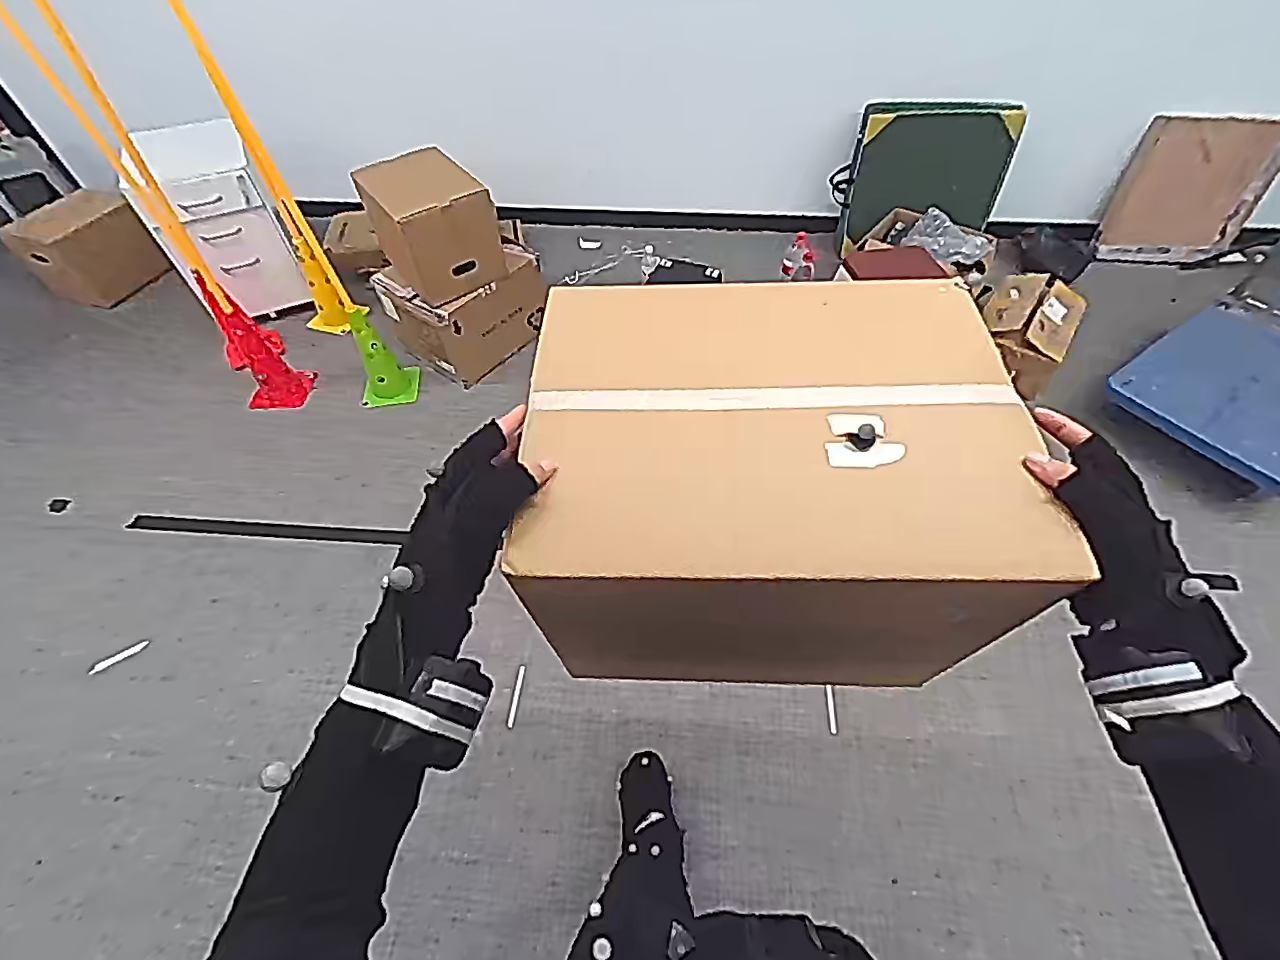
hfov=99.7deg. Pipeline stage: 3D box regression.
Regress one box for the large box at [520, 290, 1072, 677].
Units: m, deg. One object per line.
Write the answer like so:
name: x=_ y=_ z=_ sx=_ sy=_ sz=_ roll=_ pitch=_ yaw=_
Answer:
large box: x=0.114 y=0.019 z=0.591 sx=0.408 sy=0.320 sz=0.320 roll=0 pitch=57 yaw=2
